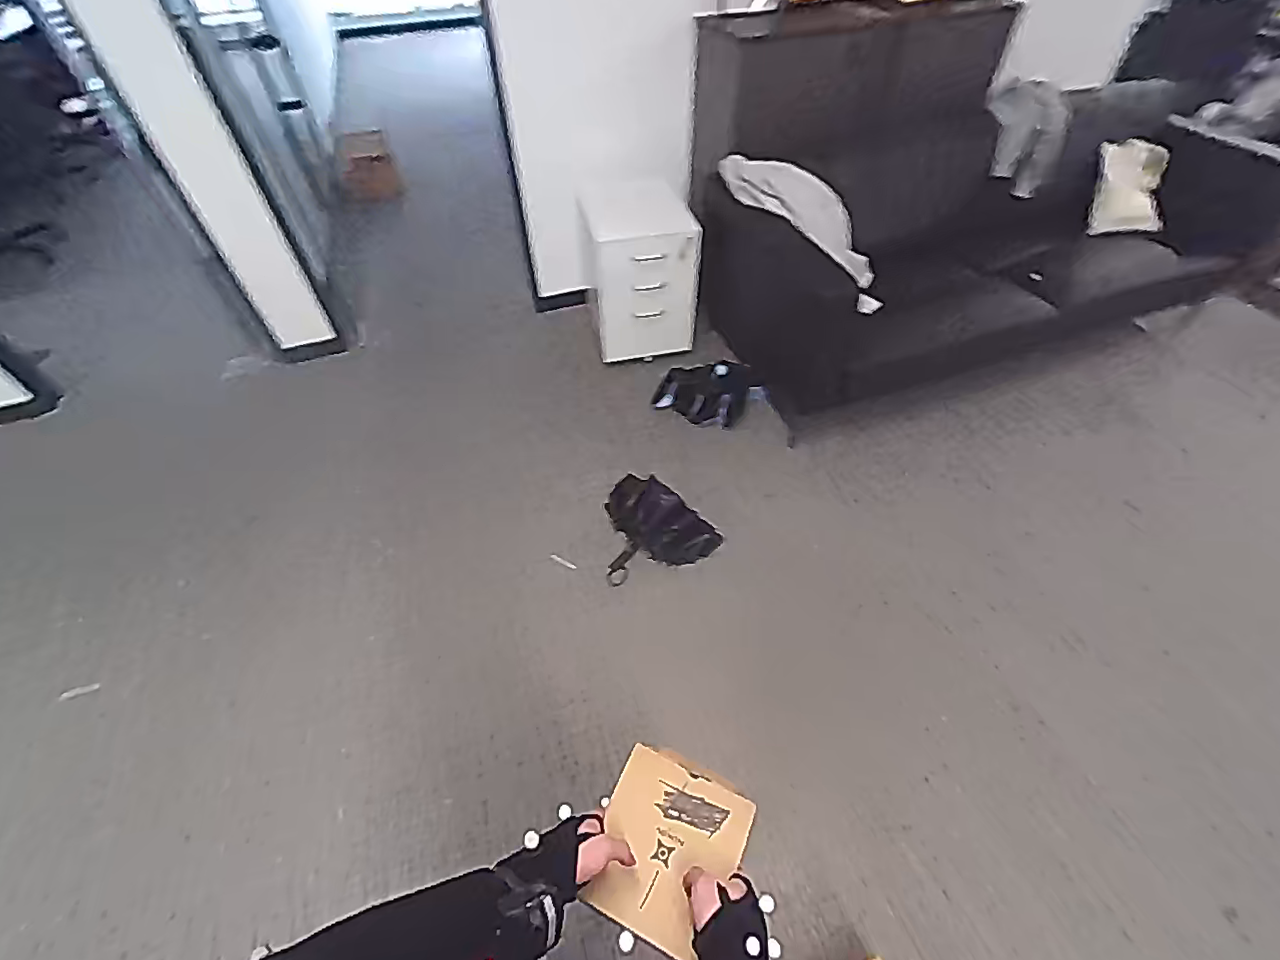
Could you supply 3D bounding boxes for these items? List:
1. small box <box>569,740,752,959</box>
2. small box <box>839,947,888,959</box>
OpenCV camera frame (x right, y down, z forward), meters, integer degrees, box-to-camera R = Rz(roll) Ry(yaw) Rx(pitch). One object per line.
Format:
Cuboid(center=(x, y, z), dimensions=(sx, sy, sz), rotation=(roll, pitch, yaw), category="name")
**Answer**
Cuboid(center=(0.027, 0.469, 0.683), dimensions=(0.168, 0.176, 0.179), rotation=(19, 52, 16), category="small box")
Cuboid(center=(0.425, 1.039, 1.032), dimensions=(0.179, 0.176, 0.168), rotation=(-21, 54, -17), category="small box")
